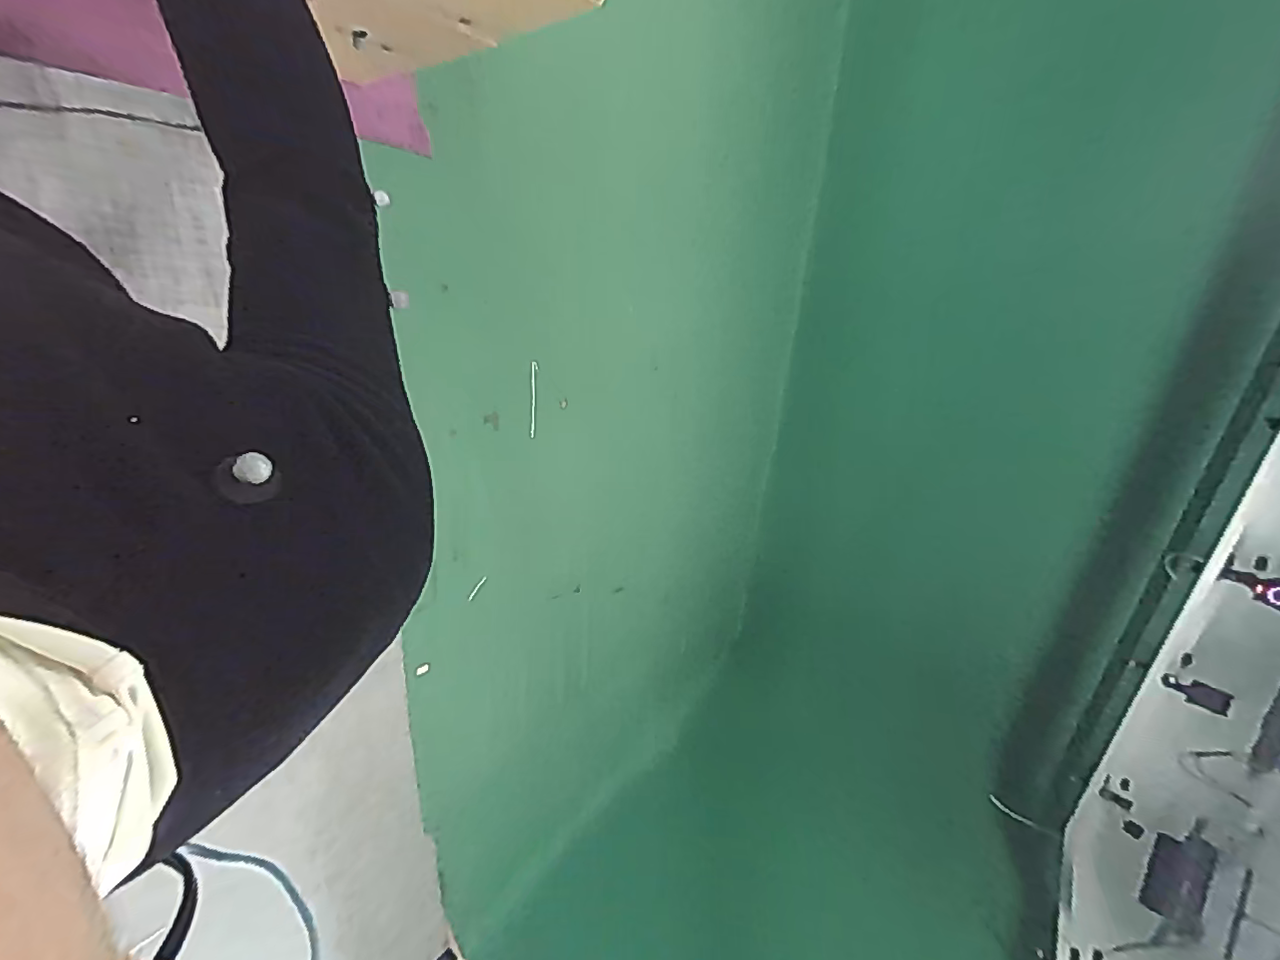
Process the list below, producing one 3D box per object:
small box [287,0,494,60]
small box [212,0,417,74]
[{"bbox_3d":[-0.273,-0.589,0.575,0.168,0.176,0.179,-17,120,-48],"label":"small box"},{"bbox_3d":[-0.402,-0.631,0.667,0.179,0.176,0.168,-18,120,-49],"label":"small box"}]
